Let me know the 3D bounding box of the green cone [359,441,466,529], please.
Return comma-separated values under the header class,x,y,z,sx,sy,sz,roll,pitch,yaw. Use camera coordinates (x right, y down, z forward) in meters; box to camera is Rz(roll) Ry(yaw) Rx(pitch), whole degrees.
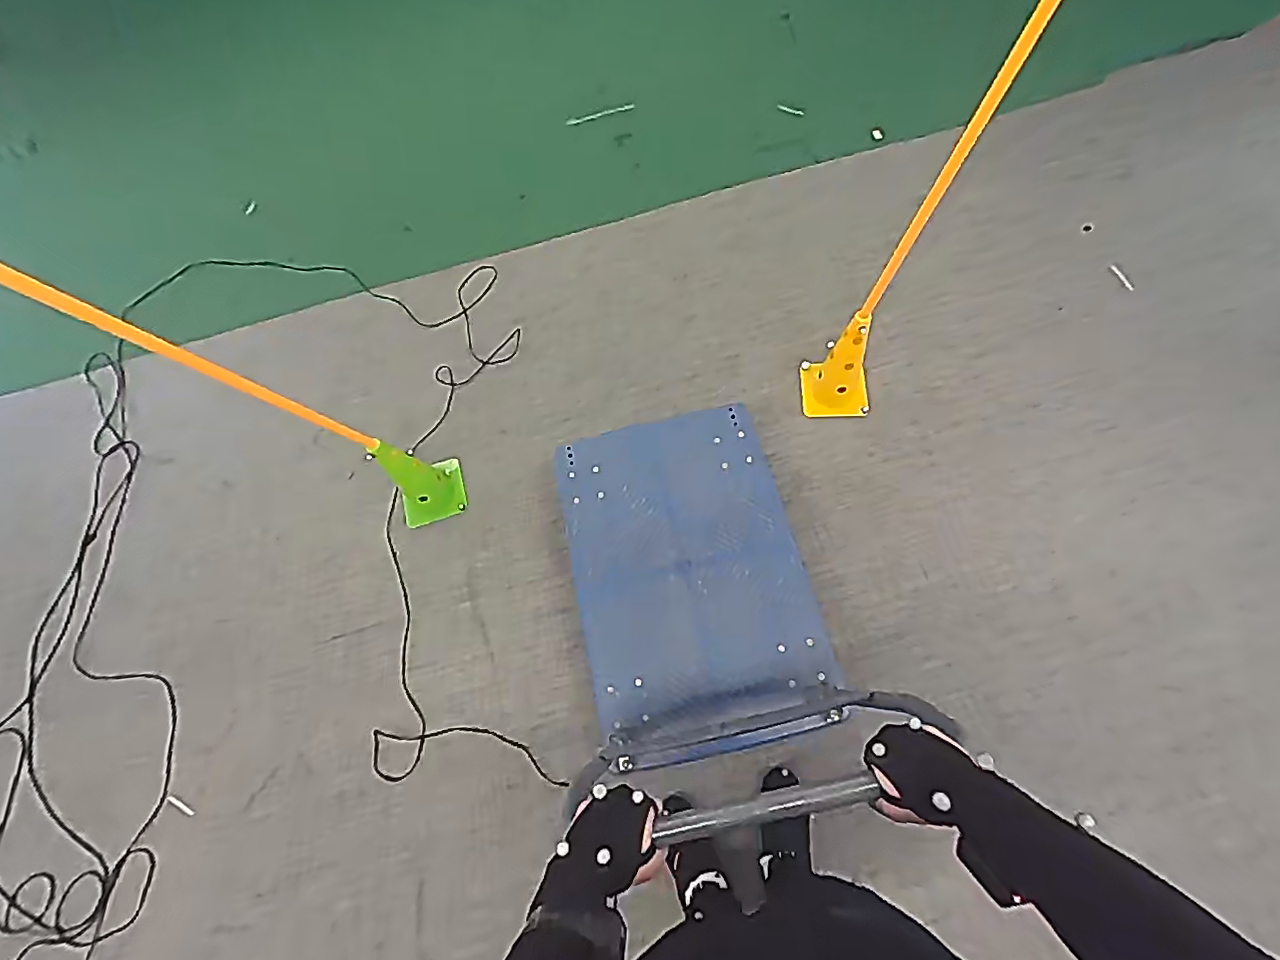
class,x,y,z,sx,sy,sz,roll,pitch,yaw
green cone,-0.691,-0.023,1.582,0.202,0.368,0.200,-20,66,0
